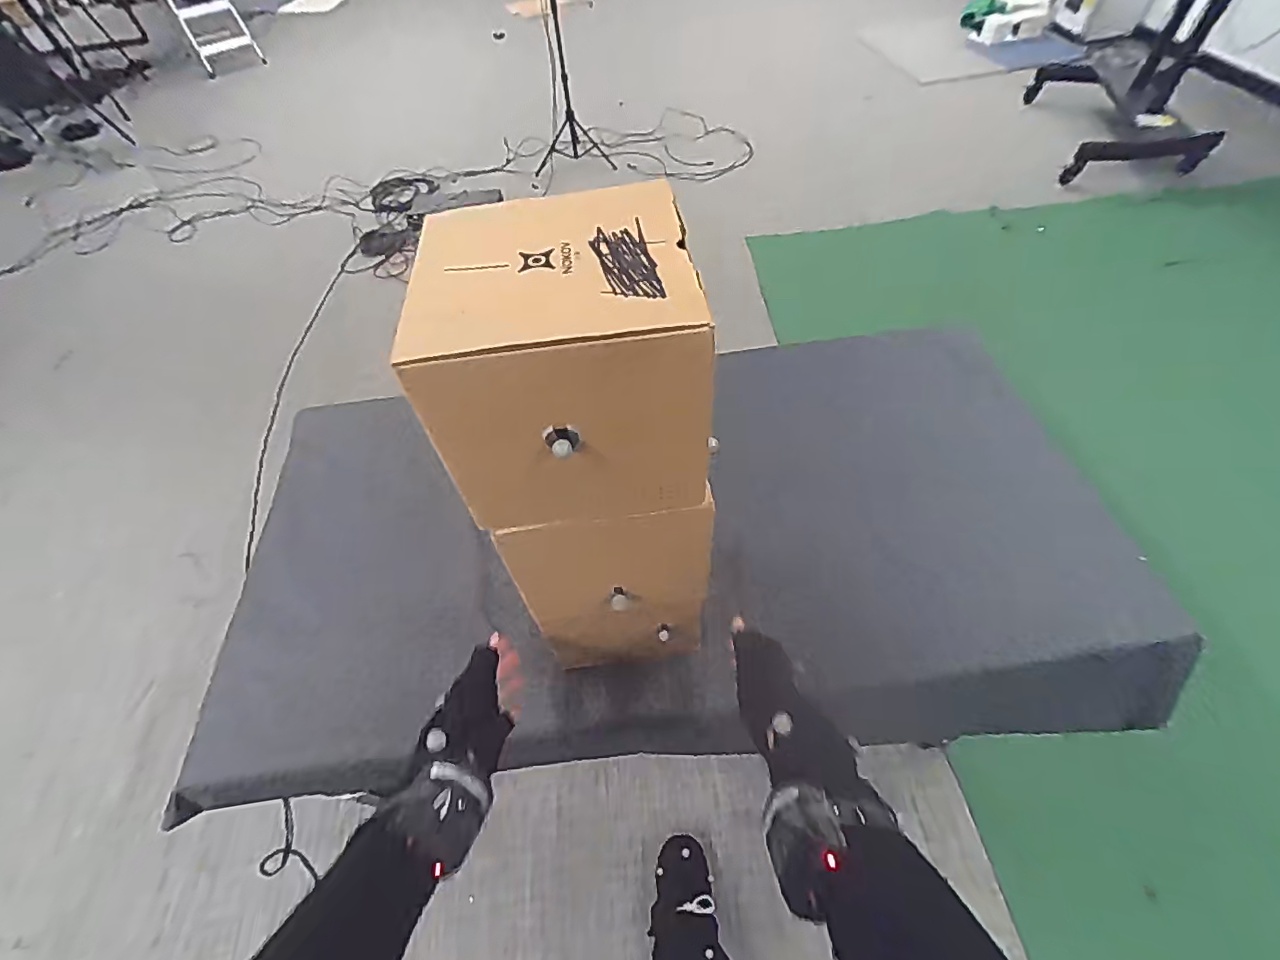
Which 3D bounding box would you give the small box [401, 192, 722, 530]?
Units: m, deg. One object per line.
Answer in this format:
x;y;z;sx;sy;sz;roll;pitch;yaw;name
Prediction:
-0.051;-0.082;0.399;0.179;0.176;0.168;-9;54;-5;small box

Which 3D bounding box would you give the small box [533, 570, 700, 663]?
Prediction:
-0.029;0.108;0.665;0.179;0.176;0.168;-9;53;-1;small box

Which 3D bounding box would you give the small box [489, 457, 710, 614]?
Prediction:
-0.037;0.016;0.531;0.179;0.176;0.168;-8;53;-2;small box
